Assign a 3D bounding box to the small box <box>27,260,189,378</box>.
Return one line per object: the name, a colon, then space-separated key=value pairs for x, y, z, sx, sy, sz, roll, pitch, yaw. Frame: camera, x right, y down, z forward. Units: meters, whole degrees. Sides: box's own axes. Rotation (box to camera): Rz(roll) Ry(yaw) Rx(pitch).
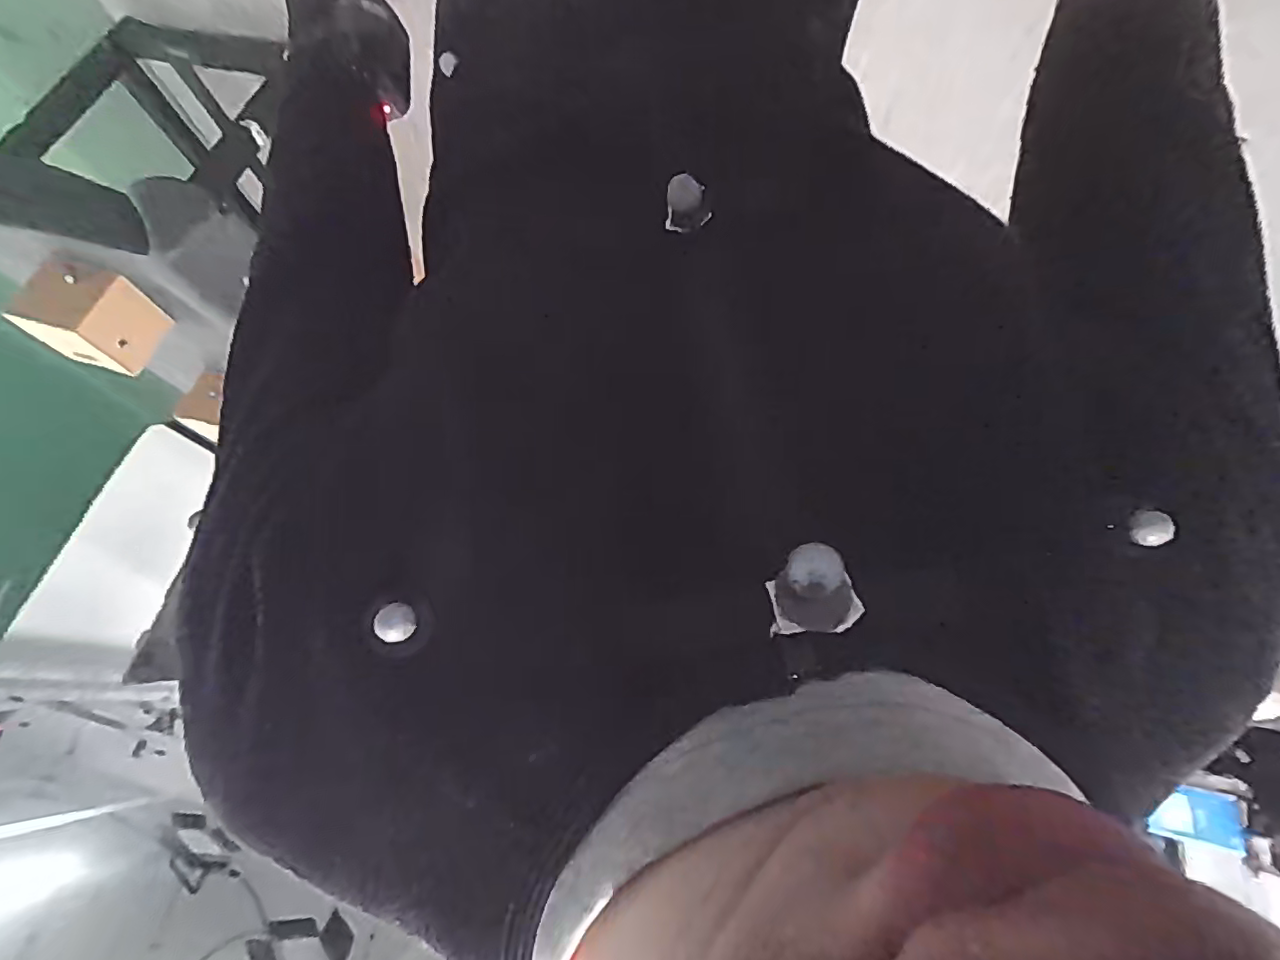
small box: x=-1.222 y=-0.373 z=1.263 sx=0.168 sy=0.176 sz=0.179 roll=16 pitch=158 yaw=1
